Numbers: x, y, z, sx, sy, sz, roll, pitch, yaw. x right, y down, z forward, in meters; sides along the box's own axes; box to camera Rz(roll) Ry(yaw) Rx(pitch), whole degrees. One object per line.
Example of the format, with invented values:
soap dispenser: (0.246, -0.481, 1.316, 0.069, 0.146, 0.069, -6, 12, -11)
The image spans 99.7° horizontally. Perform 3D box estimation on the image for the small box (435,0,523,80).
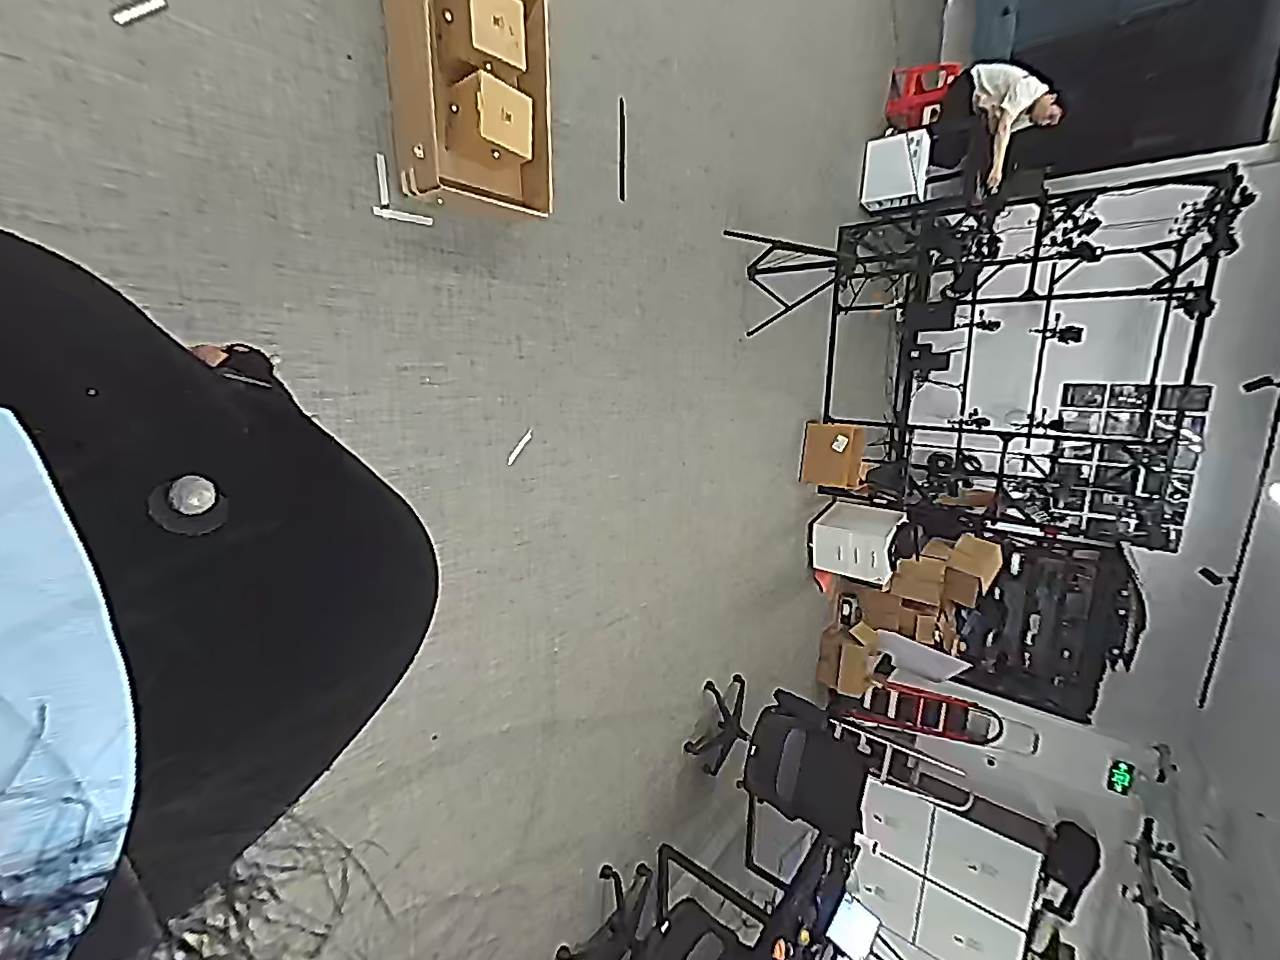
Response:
small box: (-0.444, -1.219, 1.476, 0.179, 0.176, 0.168, -17, 113, -49)

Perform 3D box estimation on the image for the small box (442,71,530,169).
small box: (-0.437, -1.010, 1.538, 0.179, 0.176, 0.168, -6, 102, -51)
